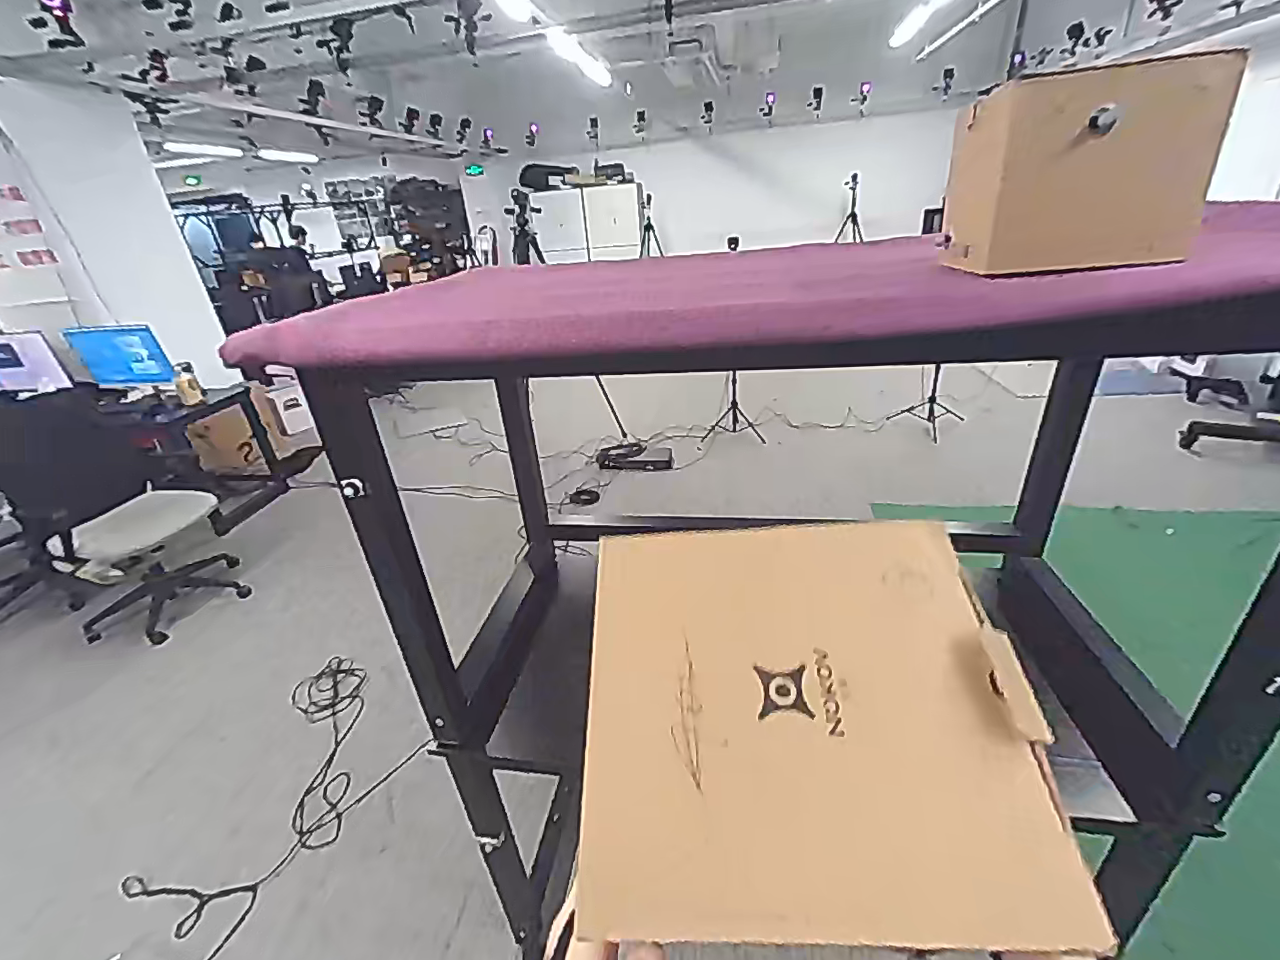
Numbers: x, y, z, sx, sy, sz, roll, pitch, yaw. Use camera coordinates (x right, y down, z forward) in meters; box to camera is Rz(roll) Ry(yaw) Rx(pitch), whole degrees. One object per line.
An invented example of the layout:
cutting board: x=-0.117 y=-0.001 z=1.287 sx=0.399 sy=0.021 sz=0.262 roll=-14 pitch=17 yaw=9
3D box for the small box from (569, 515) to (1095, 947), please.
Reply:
small box: x=0.072 y=0.137 z=0.291 sx=0.179 sy=0.176 sz=0.168 roll=-5 pitch=51 yaw=7

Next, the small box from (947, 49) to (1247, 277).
small box: x=0.439 y=-0.310 z=0.563 sx=0.179 sy=0.176 sz=0.168 roll=1 pitch=26 yaw=12
